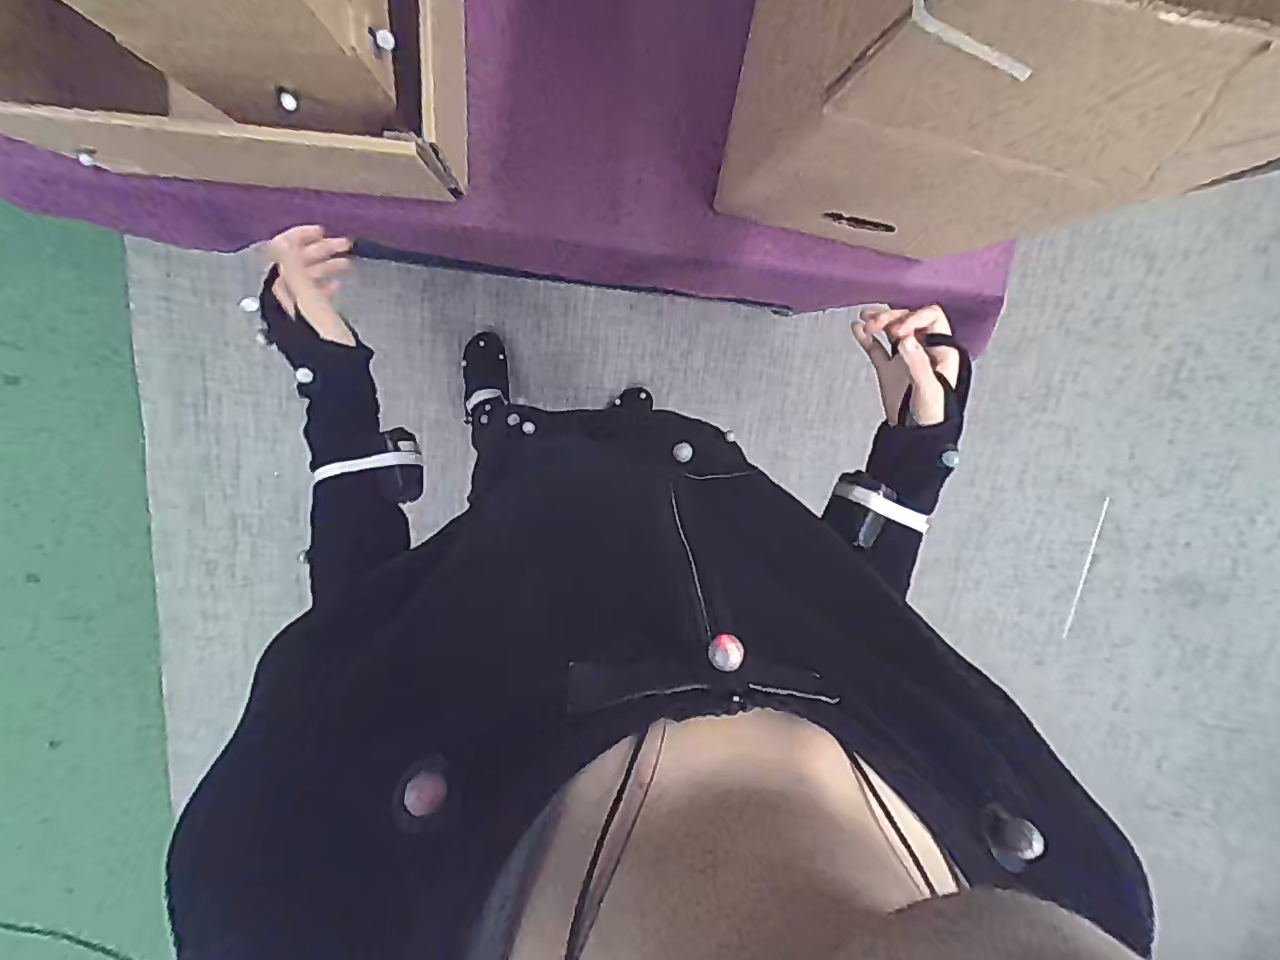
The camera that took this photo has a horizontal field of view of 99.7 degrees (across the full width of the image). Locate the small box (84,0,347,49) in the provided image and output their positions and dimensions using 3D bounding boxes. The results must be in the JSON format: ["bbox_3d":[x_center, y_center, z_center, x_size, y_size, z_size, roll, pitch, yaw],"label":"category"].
[{"bbox_3d":[-0.301,-0.395,0.317,0.179,0.176,0.168,2,103,-6],"label":"small box"}]
